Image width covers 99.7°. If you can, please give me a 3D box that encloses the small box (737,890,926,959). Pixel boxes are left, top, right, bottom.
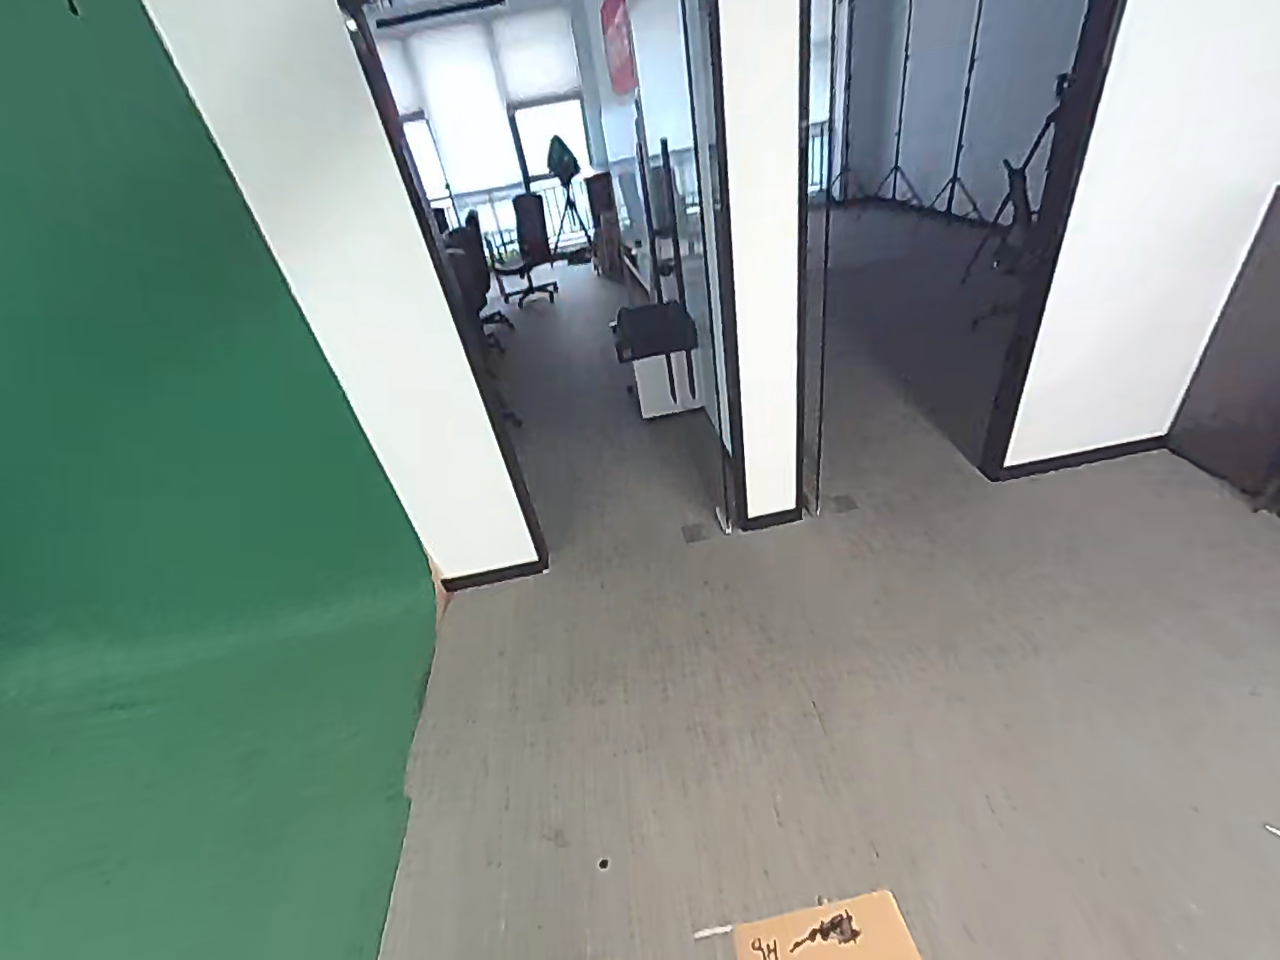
[{"bbox_3d":[0.201,0.536,0.510,0.168,0.176,0.179,-13,32,0],"label":"small box"}]
